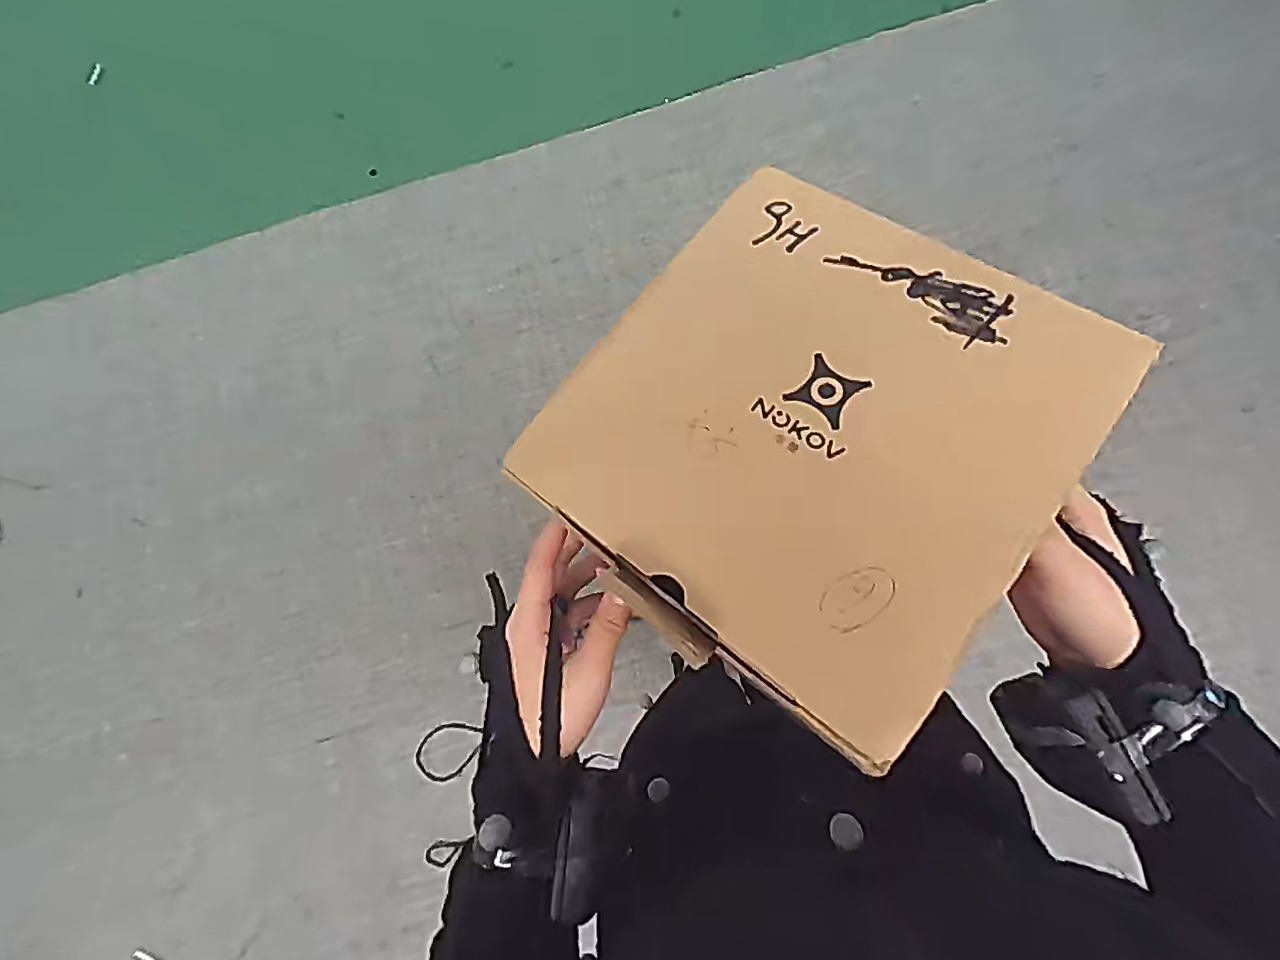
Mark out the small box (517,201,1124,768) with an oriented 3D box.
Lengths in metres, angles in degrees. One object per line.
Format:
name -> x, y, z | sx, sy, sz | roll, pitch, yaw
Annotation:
small box -> 0.075, 0.008, 0.283 | 0.168, 0.176, 0.179 | 36, 80, 18
